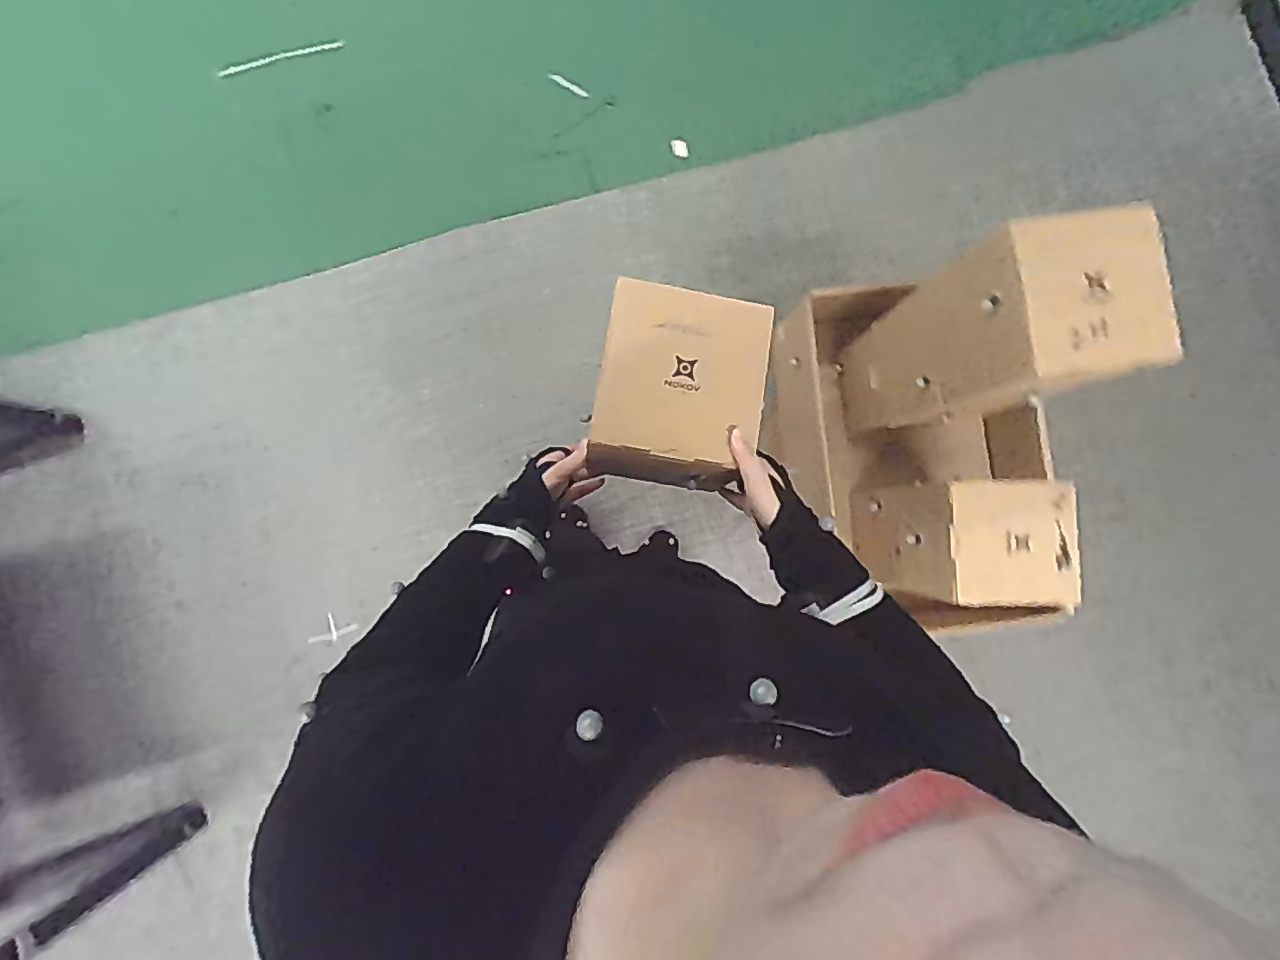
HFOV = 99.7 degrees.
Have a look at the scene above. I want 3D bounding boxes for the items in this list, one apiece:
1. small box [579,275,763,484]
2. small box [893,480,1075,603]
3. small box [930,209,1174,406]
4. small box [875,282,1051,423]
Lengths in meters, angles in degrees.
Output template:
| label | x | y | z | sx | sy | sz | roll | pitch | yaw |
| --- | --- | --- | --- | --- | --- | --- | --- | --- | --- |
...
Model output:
| label | x | y | z | sx | sy | sz | roll | pitch | yaw |
| --- | --- | --- | --- | --- | --- | --- | --- | --- | --- |
| small box | 0.026 | -0.097 | 0.612 | 0.168 | 0.176 | 0.179 | 9 | 81 | -5 |
| small box | 0.499 | 0.089 | 0.811 | 0.179 | 0.176 | 0.168 | 1 | 86 | -1 |
| small box | 0.487 | -0.200 | 0.668 | 0.168 | 0.176 | 0.179 | -7 | 88 | -2 |
| small box | 0.483 | -0.193 | 0.833 | 0.168 | 0.176 | 0.179 | -6 | 88 | -2 |
